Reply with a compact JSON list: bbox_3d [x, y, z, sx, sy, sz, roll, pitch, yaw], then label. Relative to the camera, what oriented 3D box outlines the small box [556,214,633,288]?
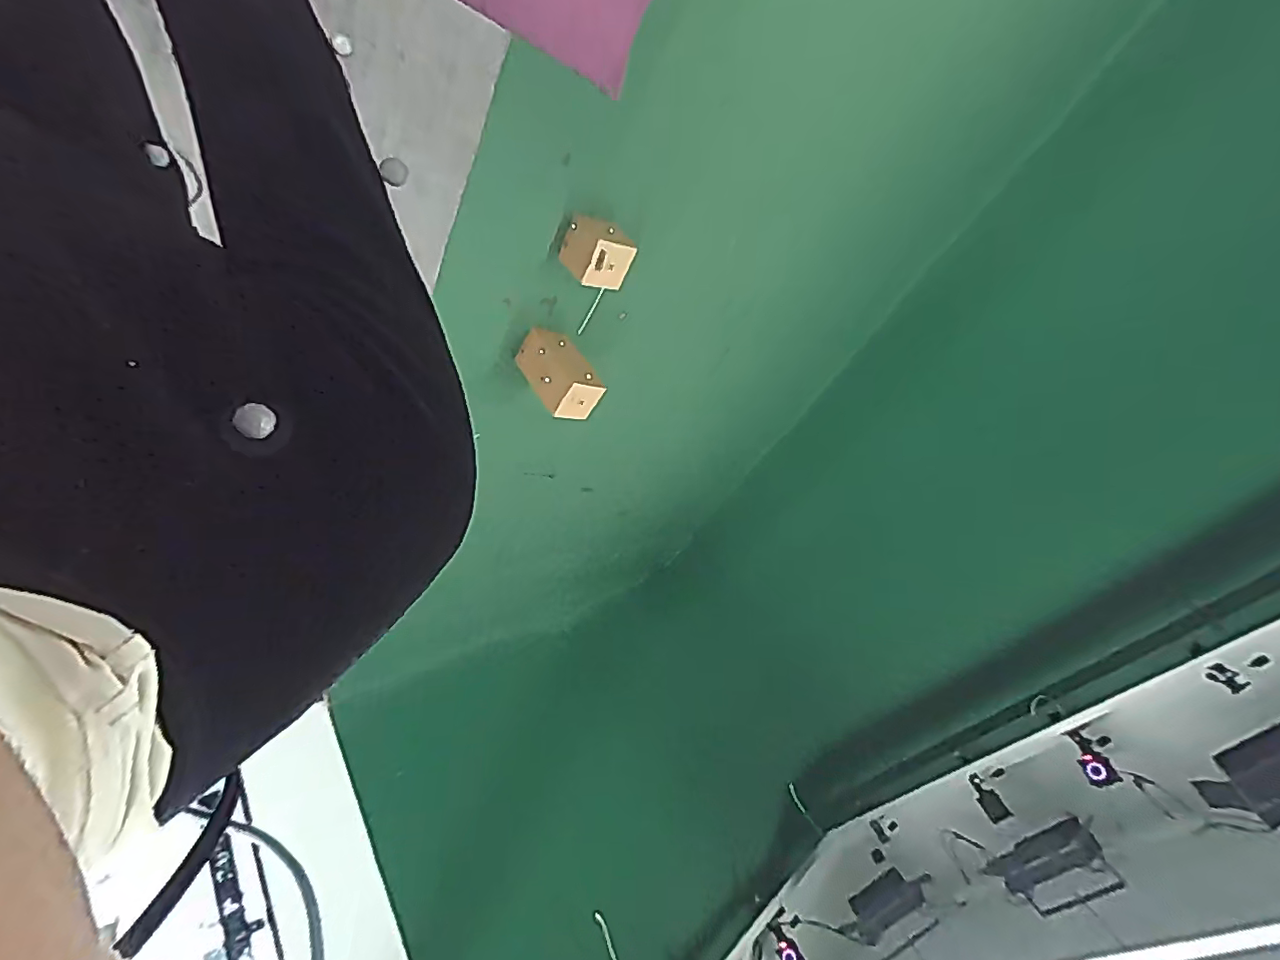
[{"bbox_3d":[-0.164,-0.795,1.874,0.179,0.176,0.168,-11,145,-44],"label":"small box"}]

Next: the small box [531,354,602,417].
[{"bbox_3d":[-0.285,-0.363,2.074,0.179,0.176,0.168,-1,138,-51],"label":"small box"}]
